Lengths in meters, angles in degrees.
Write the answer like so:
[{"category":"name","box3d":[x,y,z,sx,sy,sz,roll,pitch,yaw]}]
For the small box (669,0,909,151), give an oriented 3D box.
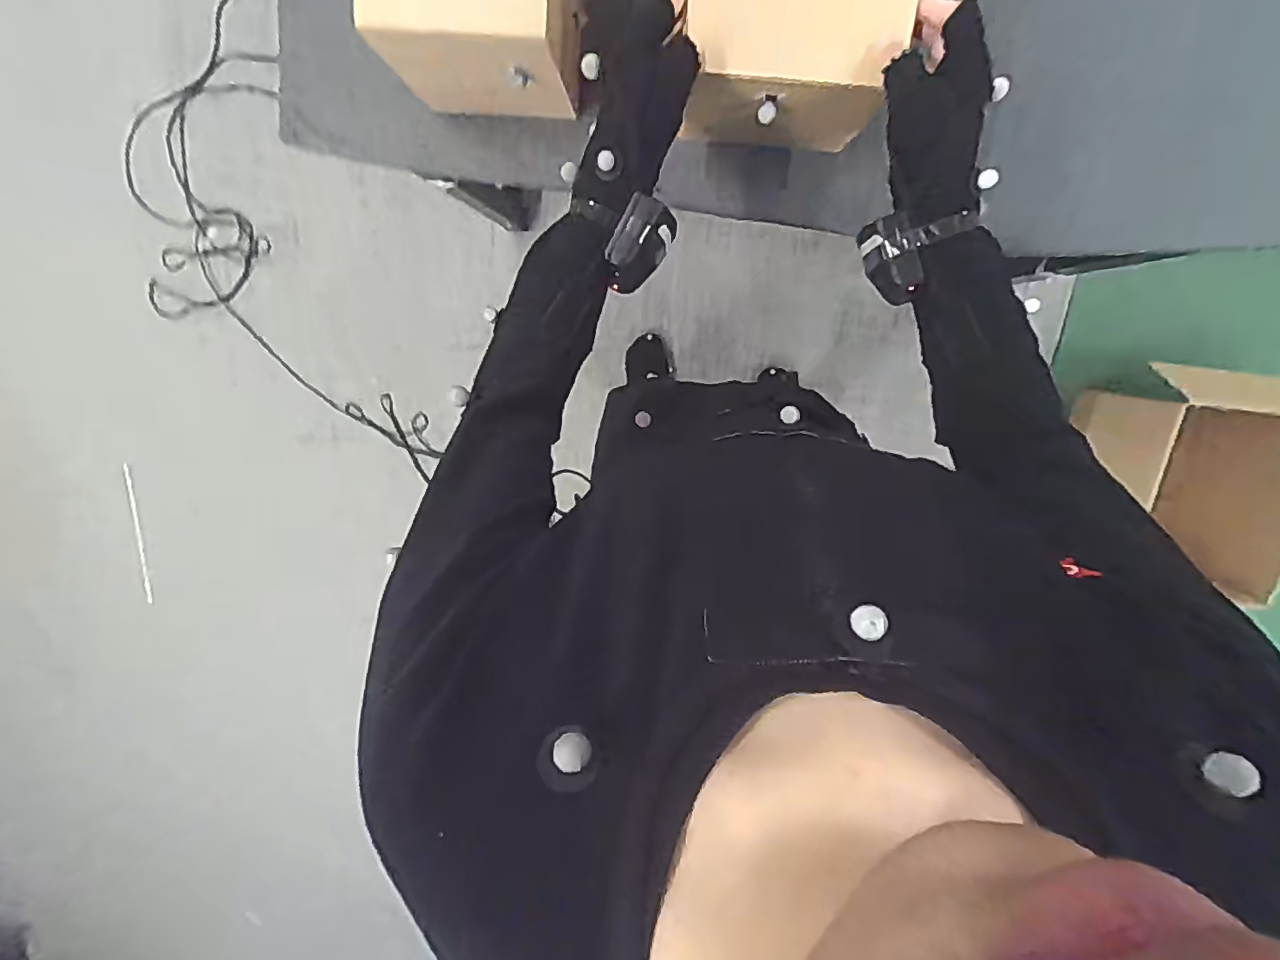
[{"category":"small box","box3d":[0.125,-0.409,0.477,0.179,0.176,0.168,7,107,4]}]
